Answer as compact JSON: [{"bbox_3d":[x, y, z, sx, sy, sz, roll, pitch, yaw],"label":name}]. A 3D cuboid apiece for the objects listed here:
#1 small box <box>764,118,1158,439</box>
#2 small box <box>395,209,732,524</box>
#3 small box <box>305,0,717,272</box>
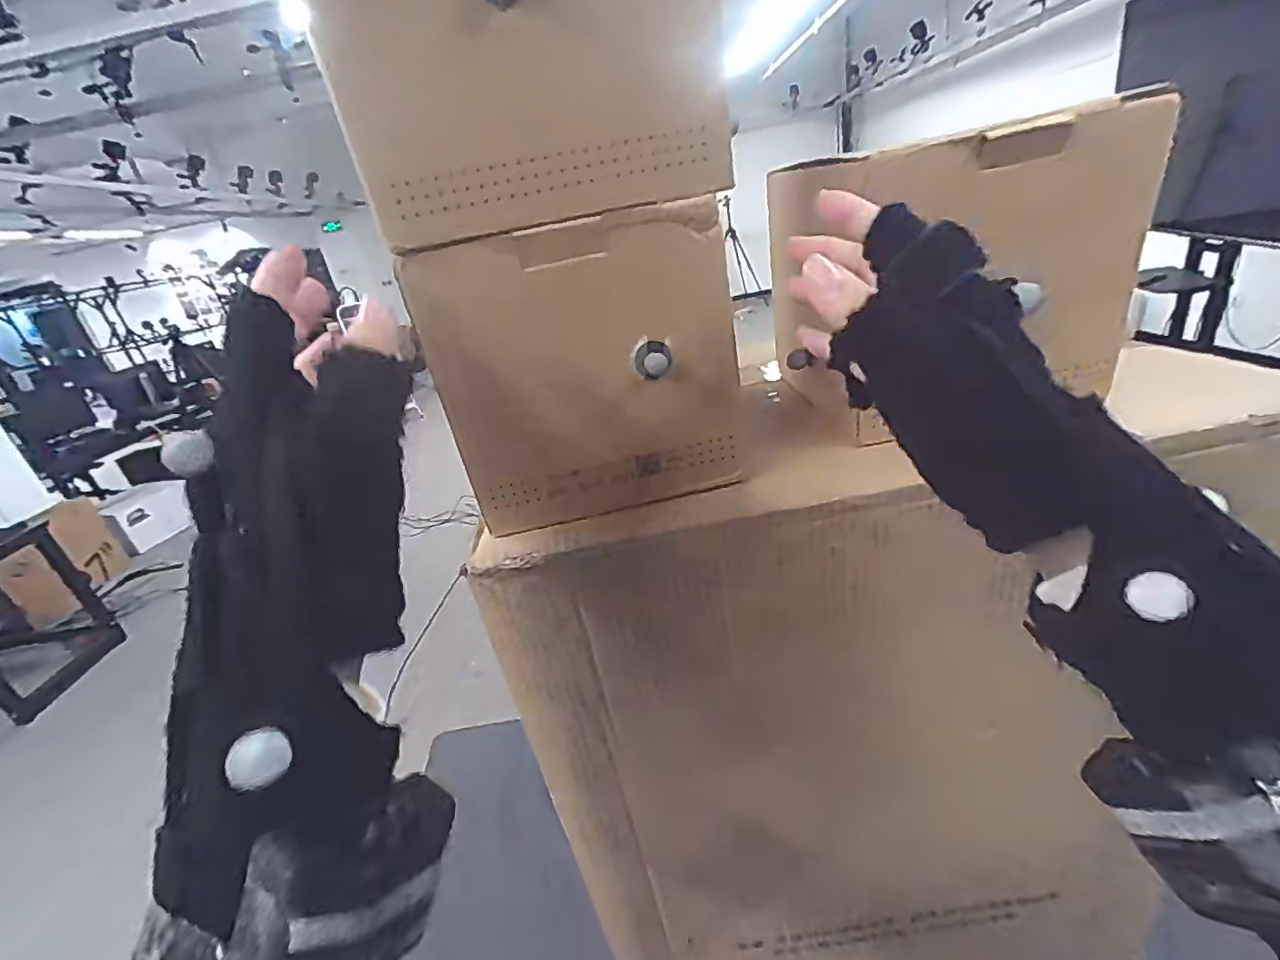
[{"bbox_3d":[0.197,-0.138,0.390,0.168,0.176,0.179,-10,28,0],"label":"small box"},{"bbox_3d":[-0.040,-0.081,0.380,0.168,0.176,0.179,-12,26,-2],"label":"small box"},{"bbox_3d":[-0.064,-0.223,0.299,0.179,0.176,0.168,-14,28,-9],"label":"small box"}]
